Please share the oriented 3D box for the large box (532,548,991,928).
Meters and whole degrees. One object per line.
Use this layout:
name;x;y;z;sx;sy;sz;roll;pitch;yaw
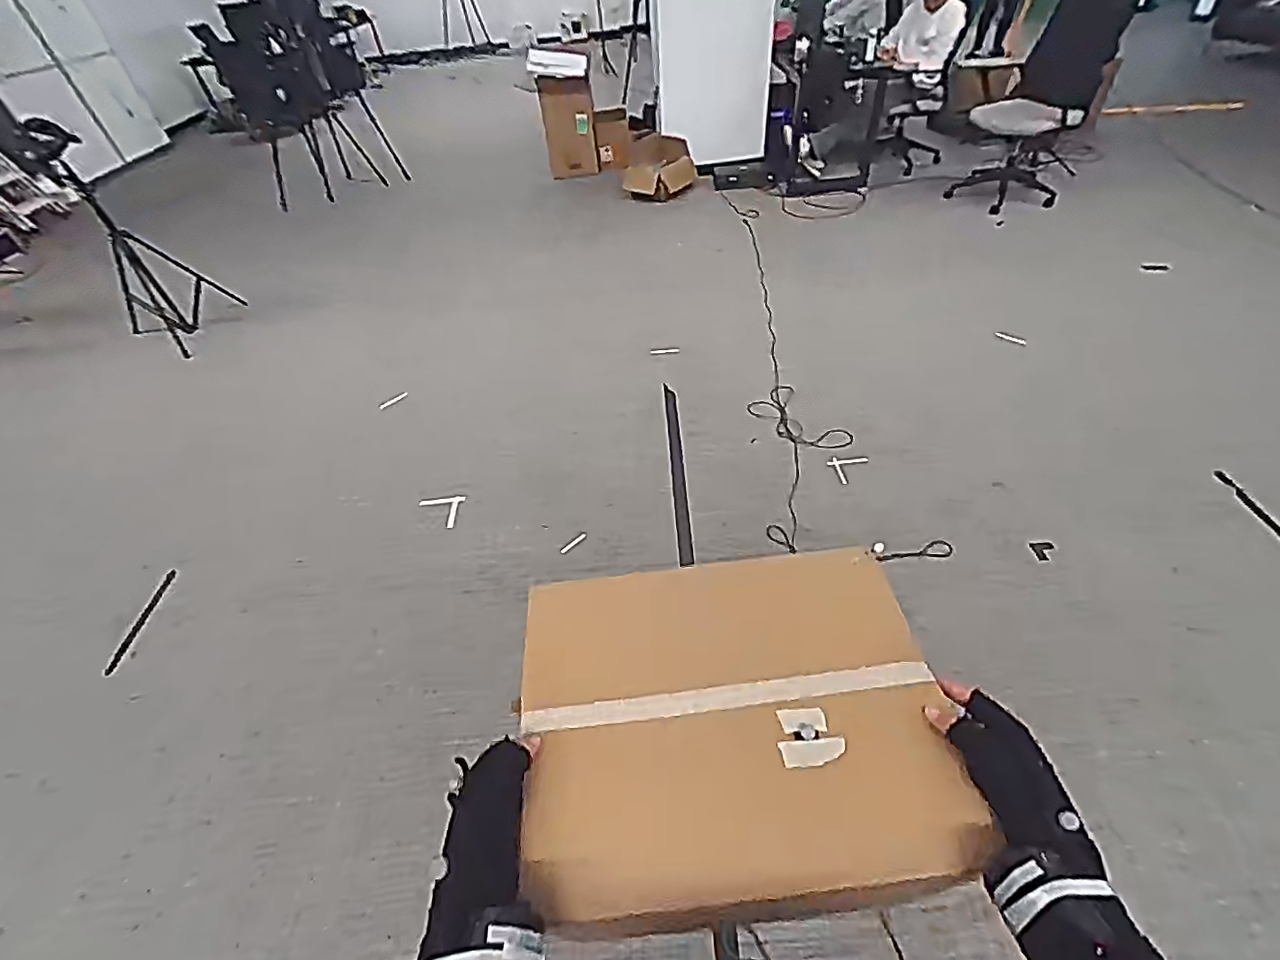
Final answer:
large box;0.099;0.318;0.663;0.408;0.320;0.320;-7;49;0
